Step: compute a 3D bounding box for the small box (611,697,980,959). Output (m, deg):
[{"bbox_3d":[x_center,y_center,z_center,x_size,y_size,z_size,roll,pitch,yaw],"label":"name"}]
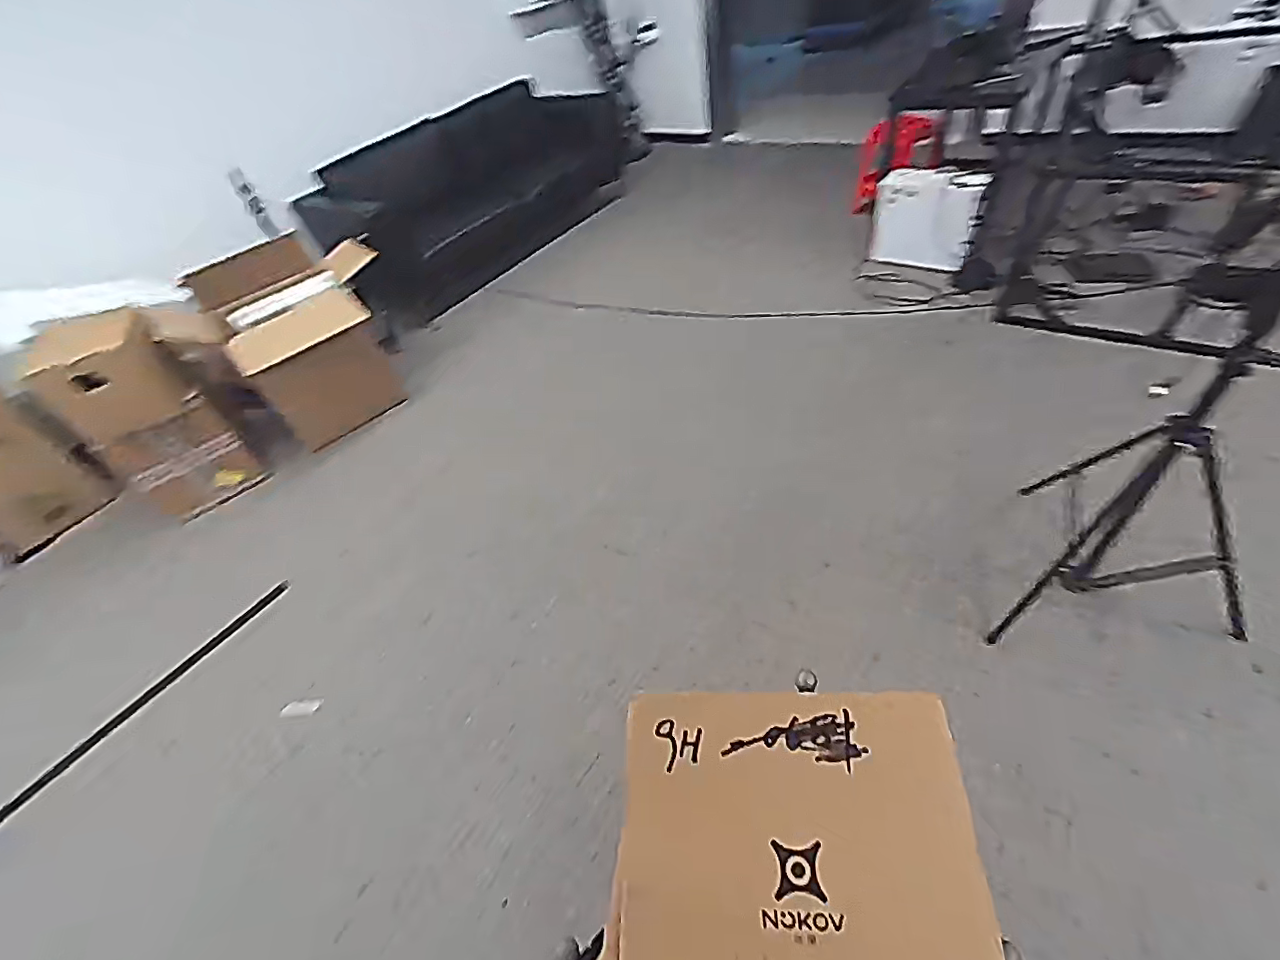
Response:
[{"bbox_3d":[0.077,0.231,0.323,0.168,0.176,0.179,-3,62,6],"label":"small box"}]
